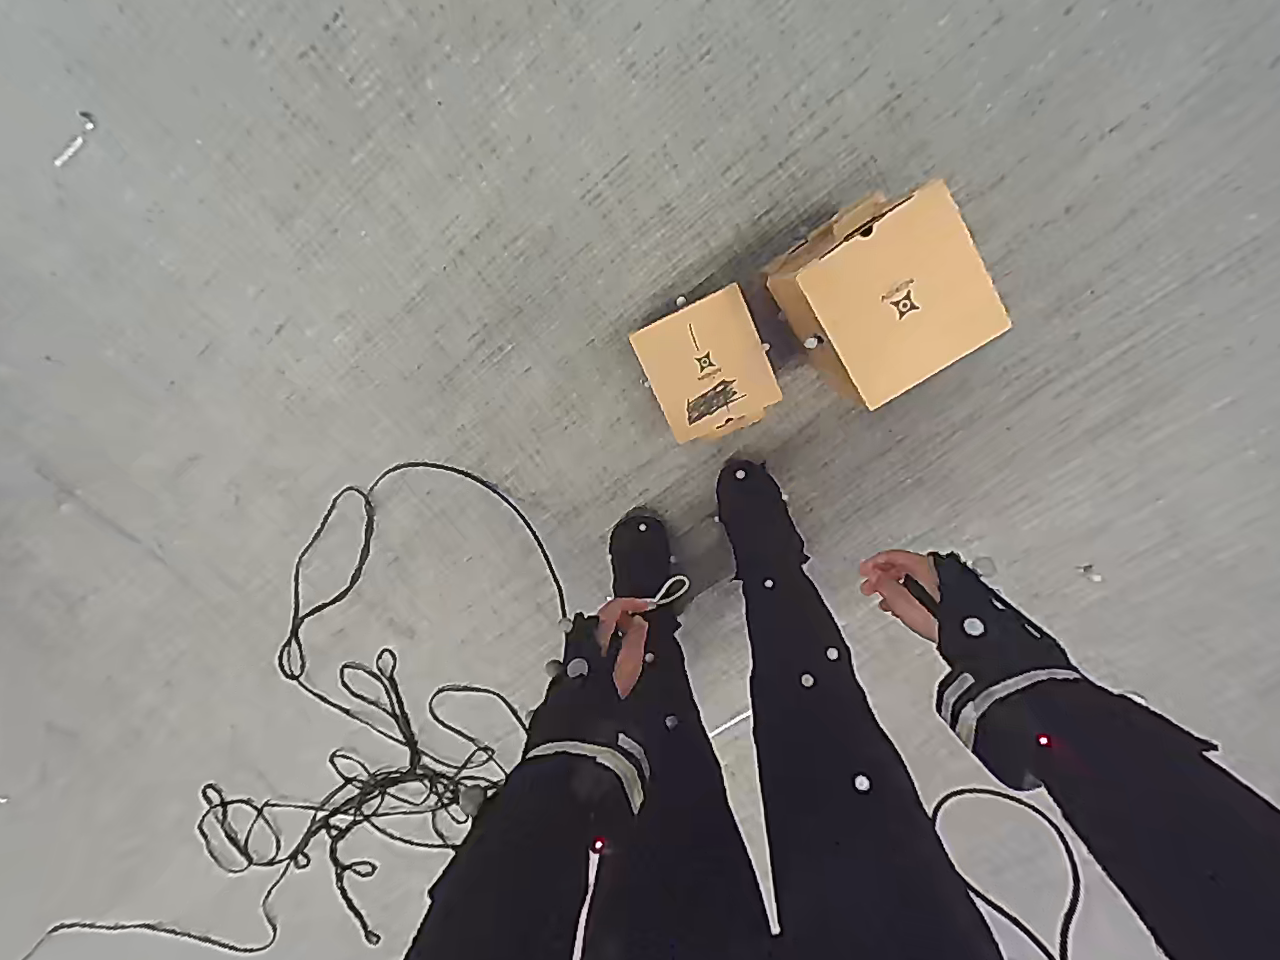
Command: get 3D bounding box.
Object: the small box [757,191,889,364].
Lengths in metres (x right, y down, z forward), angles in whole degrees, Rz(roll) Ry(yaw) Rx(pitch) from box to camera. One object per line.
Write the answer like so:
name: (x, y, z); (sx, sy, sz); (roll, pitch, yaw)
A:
small box: (0.289, -0.278, 0.791); (0.168, 0.176, 0.179); (-32, 103, 12)

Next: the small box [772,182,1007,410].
small box: (0.278, -0.211, 0.642); (0.168, 0.176, 0.179); (-32, 103, 13)

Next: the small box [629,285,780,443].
small box: (0.097, -0.182, 0.833); (0.168, 0.176, 0.179); (-23, 104, 10)
